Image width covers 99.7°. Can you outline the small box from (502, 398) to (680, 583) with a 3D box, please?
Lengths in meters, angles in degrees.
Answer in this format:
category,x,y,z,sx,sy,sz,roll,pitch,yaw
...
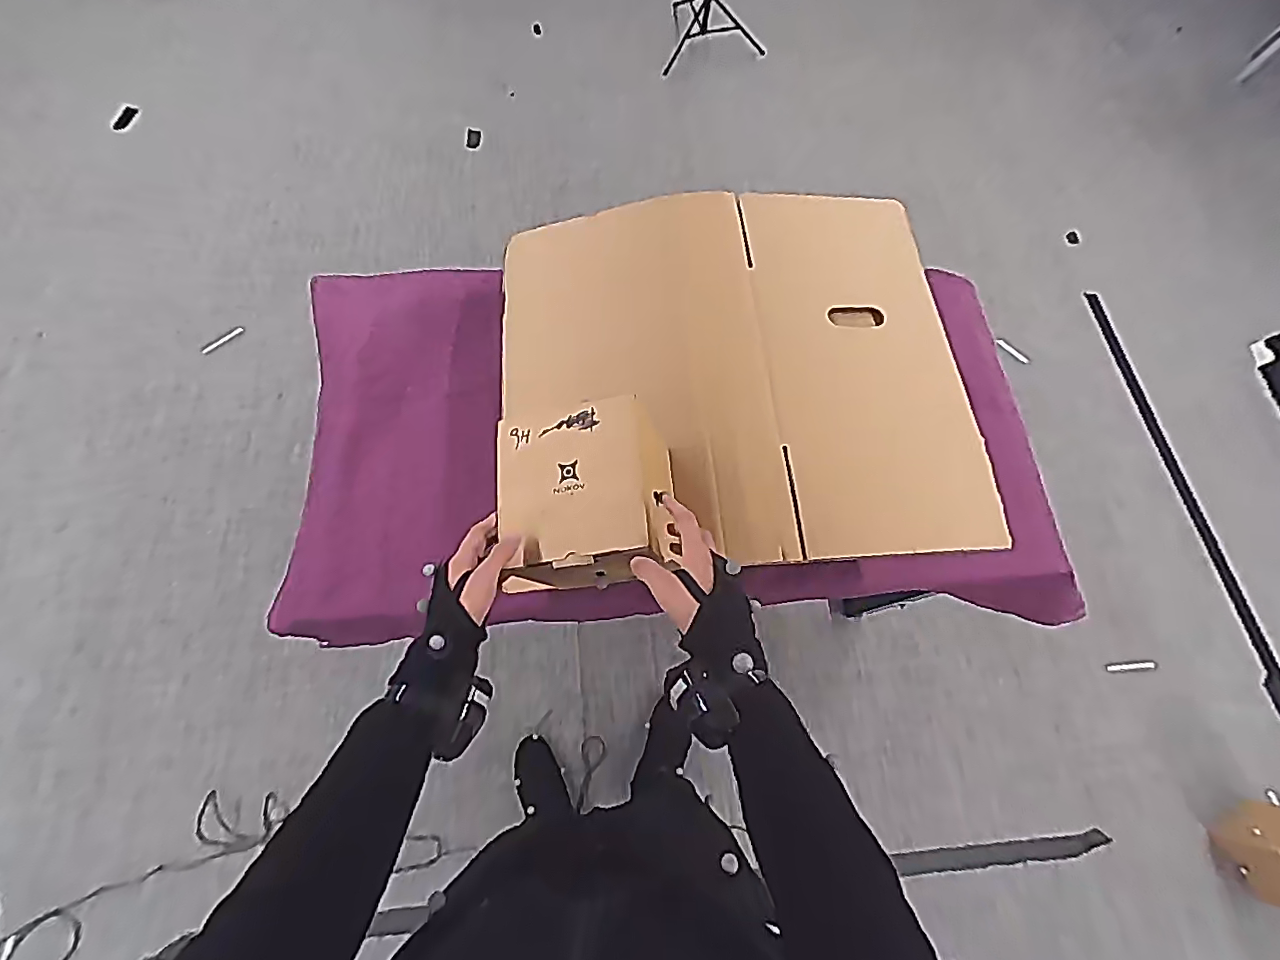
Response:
category,x,y,z,sx,sy,sz,roll,pitch,yaw
small box,-0.052,0.026,0.652,0.168,0.176,0.179,-10,71,13
